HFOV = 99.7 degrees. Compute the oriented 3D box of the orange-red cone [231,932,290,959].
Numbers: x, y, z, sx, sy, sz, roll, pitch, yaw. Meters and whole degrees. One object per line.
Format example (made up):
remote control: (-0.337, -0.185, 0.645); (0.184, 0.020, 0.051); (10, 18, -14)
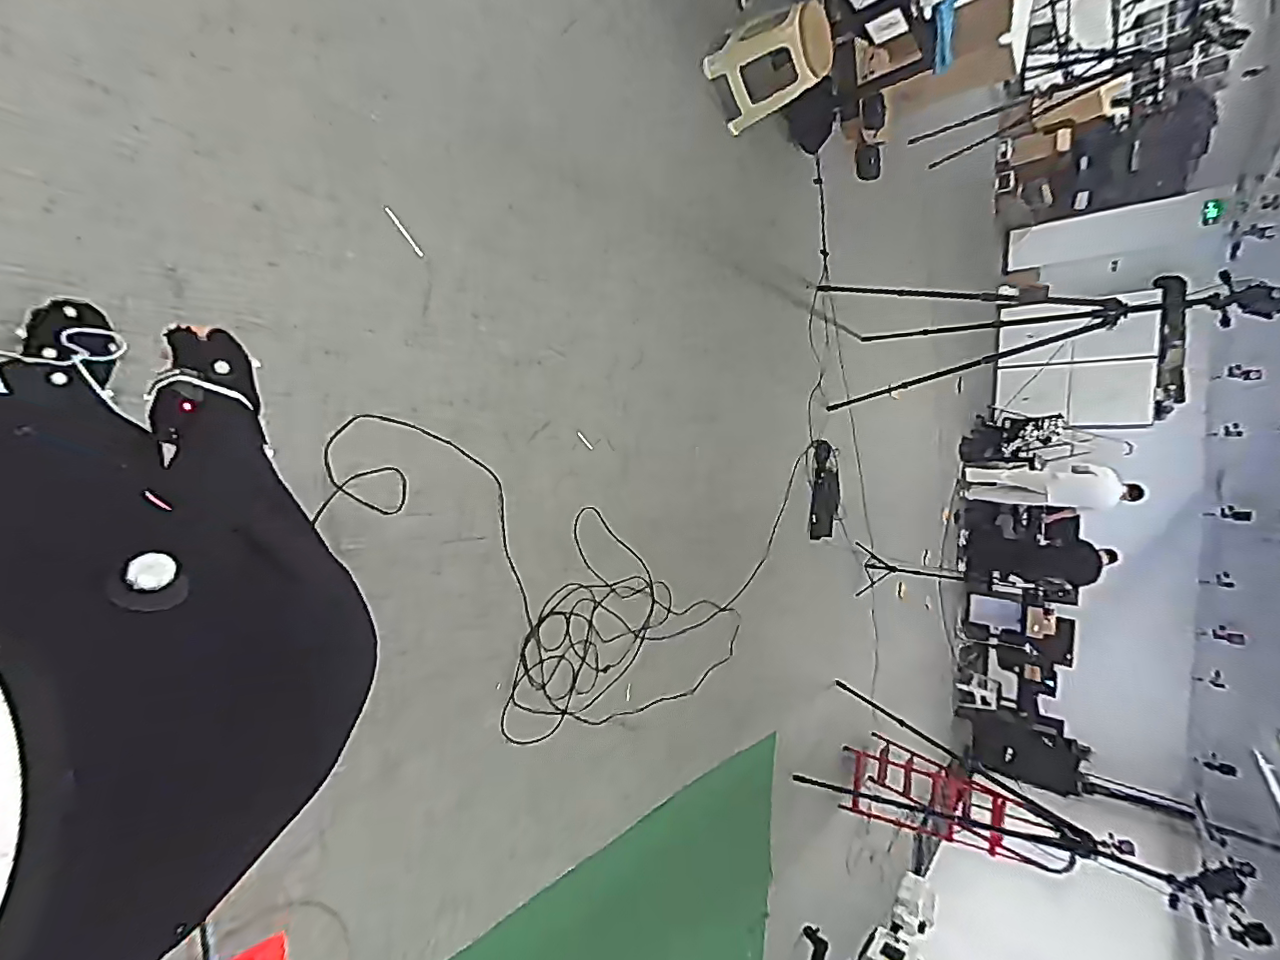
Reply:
orange-red cone: (-0.822, 1.232, 1.181); (0.198, 0.360, 0.199); (0, 92, -49)
